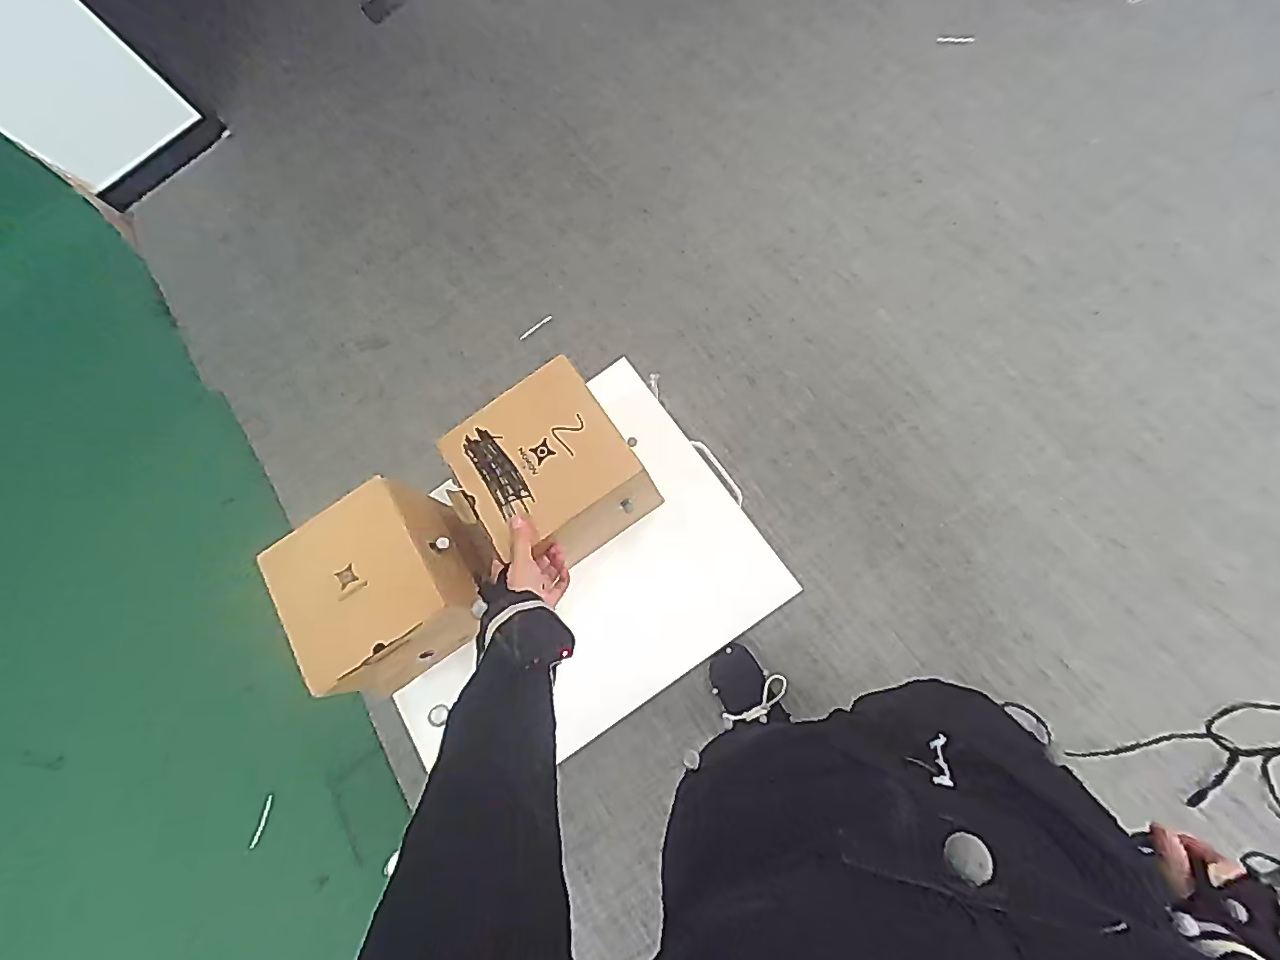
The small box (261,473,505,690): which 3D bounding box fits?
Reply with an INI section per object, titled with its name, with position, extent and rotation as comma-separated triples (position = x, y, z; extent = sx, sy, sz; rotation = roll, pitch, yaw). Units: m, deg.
[small box]
position = -0.292, 0.123, 0.645
extent = 0.168, 0.176, 0.179
rotation = -34, 73, -1
